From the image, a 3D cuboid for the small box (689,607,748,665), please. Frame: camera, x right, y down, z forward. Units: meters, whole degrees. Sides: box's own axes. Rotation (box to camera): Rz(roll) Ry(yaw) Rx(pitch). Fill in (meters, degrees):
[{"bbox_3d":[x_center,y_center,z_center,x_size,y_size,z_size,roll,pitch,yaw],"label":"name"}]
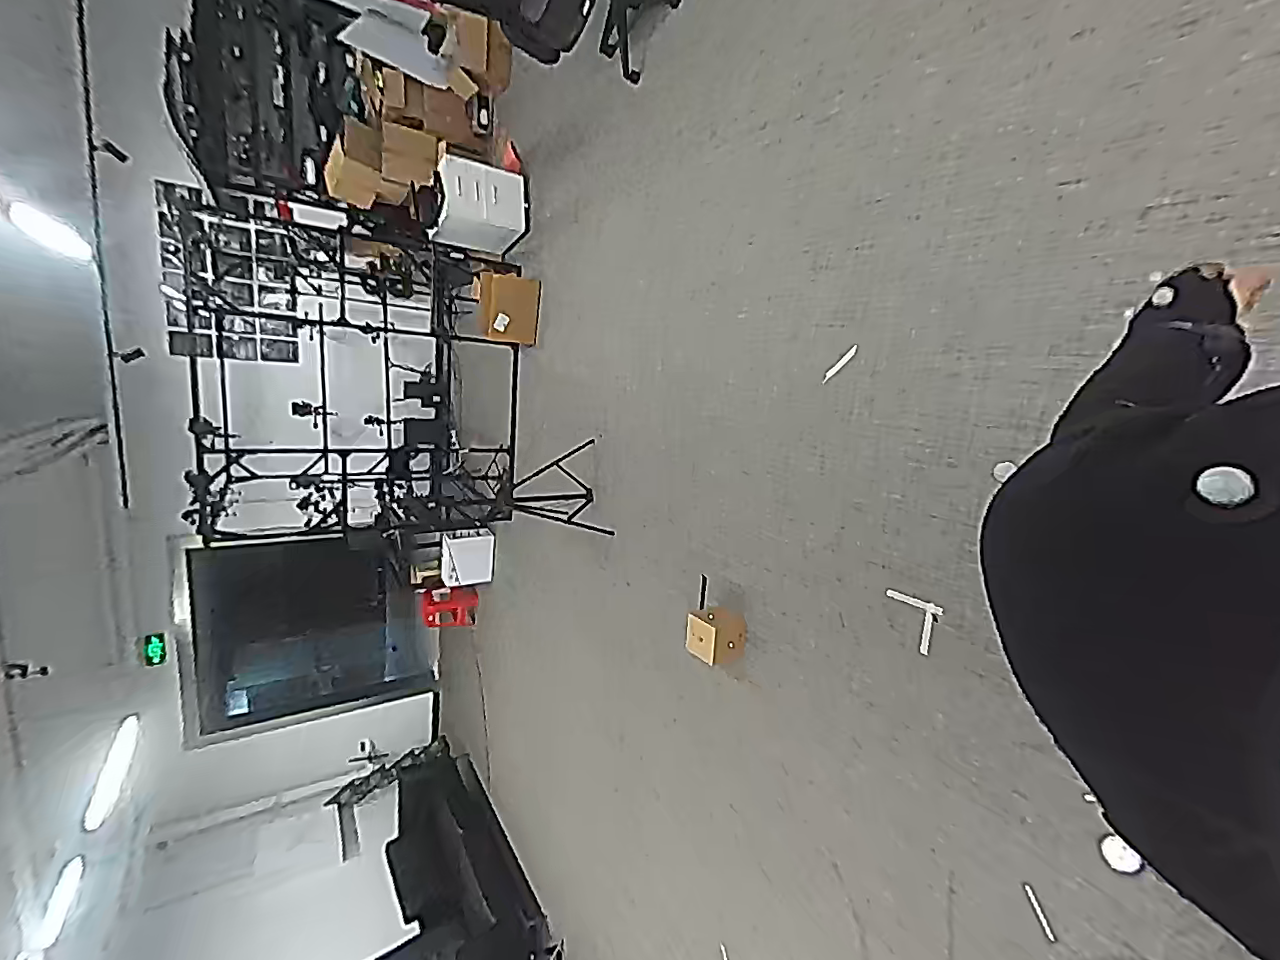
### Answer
[{"bbox_3d":[0.327,0.639,2.247,0.179,0.176,0.168,17,106,56],"label":"small box"}]
